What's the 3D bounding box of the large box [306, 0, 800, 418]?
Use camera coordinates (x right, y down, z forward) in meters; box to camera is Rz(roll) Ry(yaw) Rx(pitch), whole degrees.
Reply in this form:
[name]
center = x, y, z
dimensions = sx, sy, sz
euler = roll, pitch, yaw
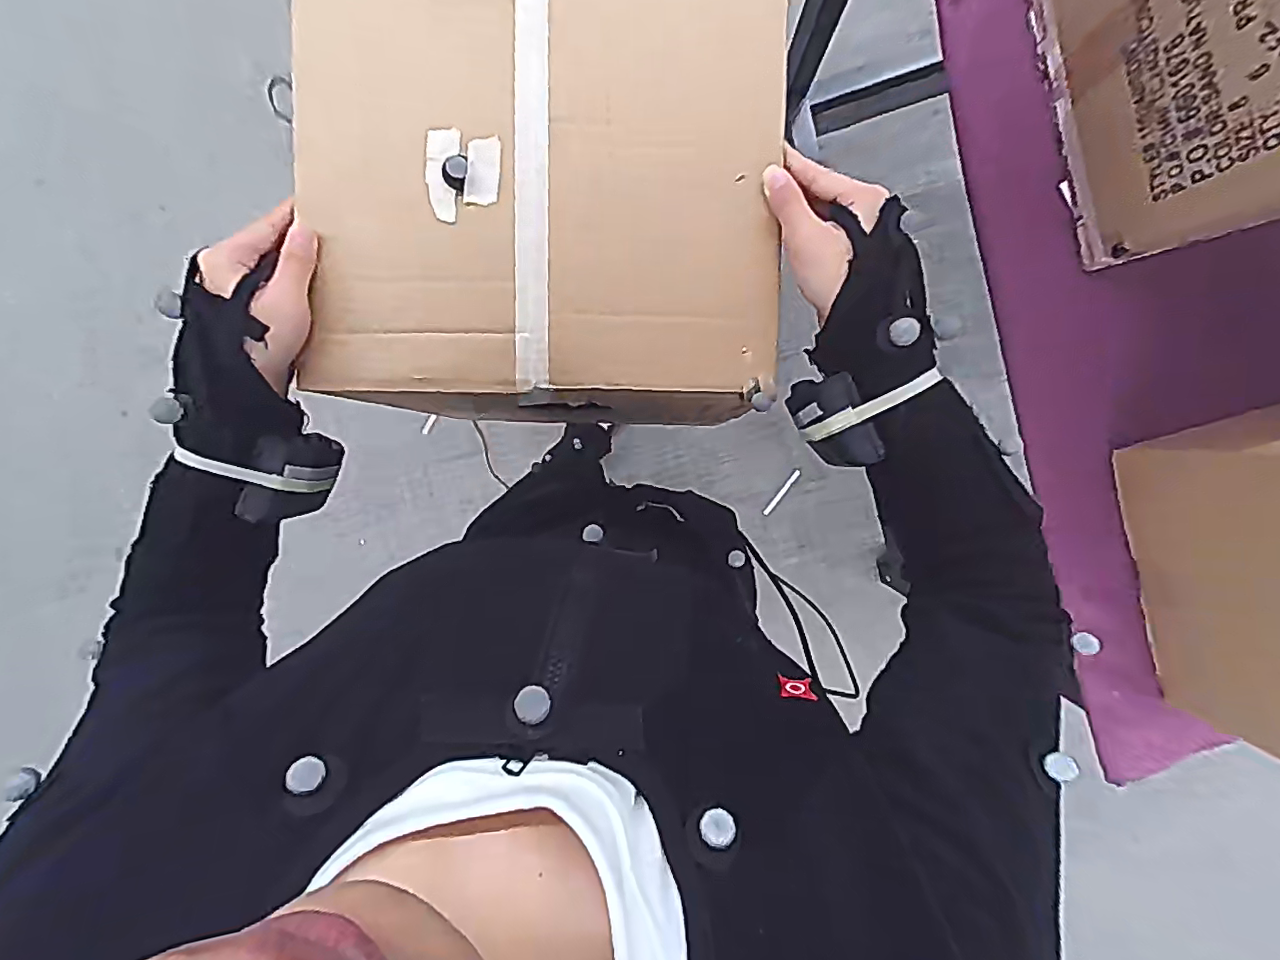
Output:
[large box]
center = -0.053, -0.267, 0.484
dimensions = 0.320, 0.320, 0.408
euler = 1, 93, 2
